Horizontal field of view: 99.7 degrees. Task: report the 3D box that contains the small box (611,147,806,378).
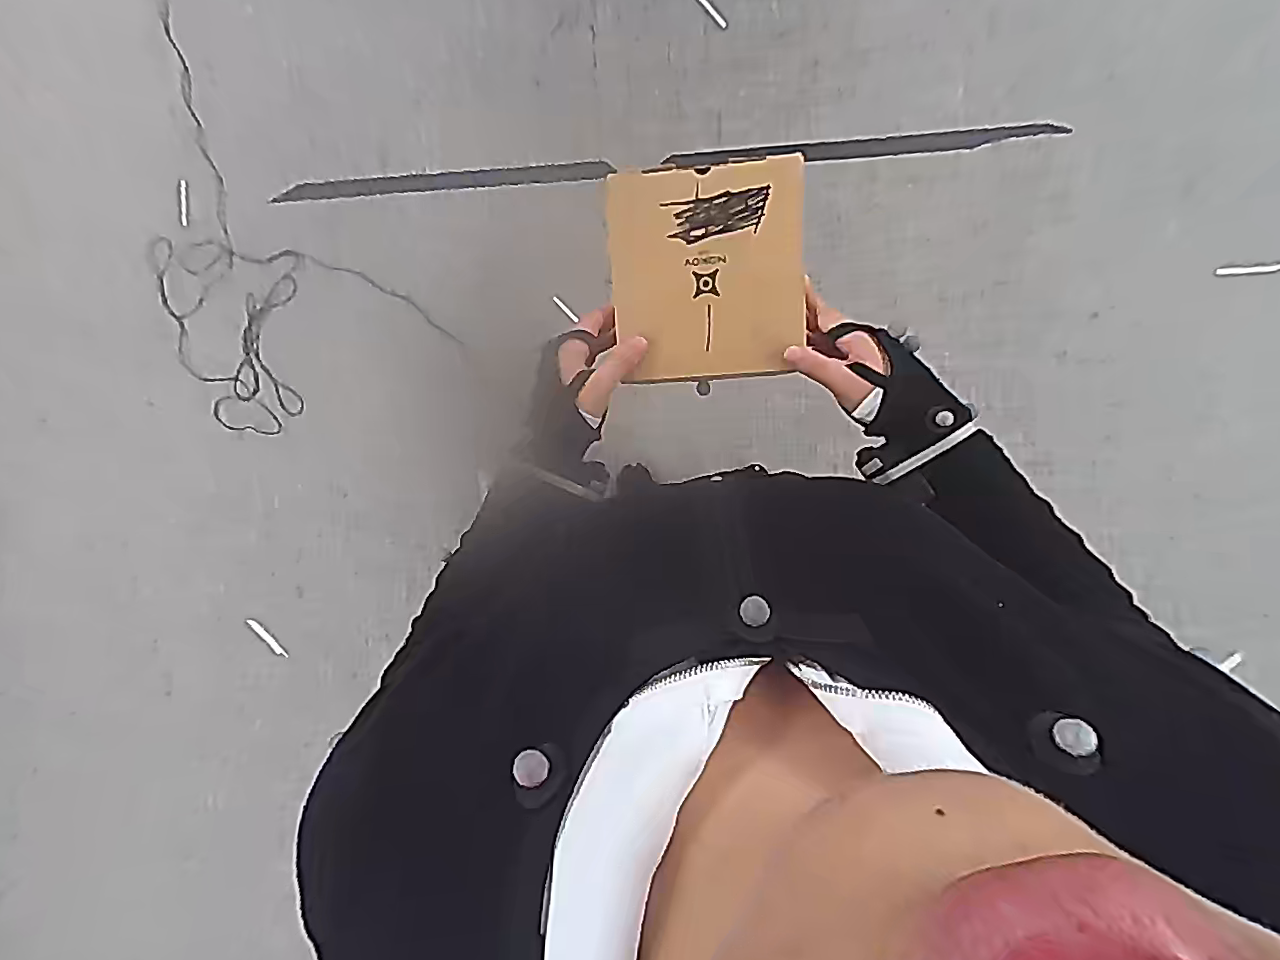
[{"bbox_3d":[0.066,-0.198,0.543,0.168,0.176,0.179,-3,99,6],"label":"small box"}]
